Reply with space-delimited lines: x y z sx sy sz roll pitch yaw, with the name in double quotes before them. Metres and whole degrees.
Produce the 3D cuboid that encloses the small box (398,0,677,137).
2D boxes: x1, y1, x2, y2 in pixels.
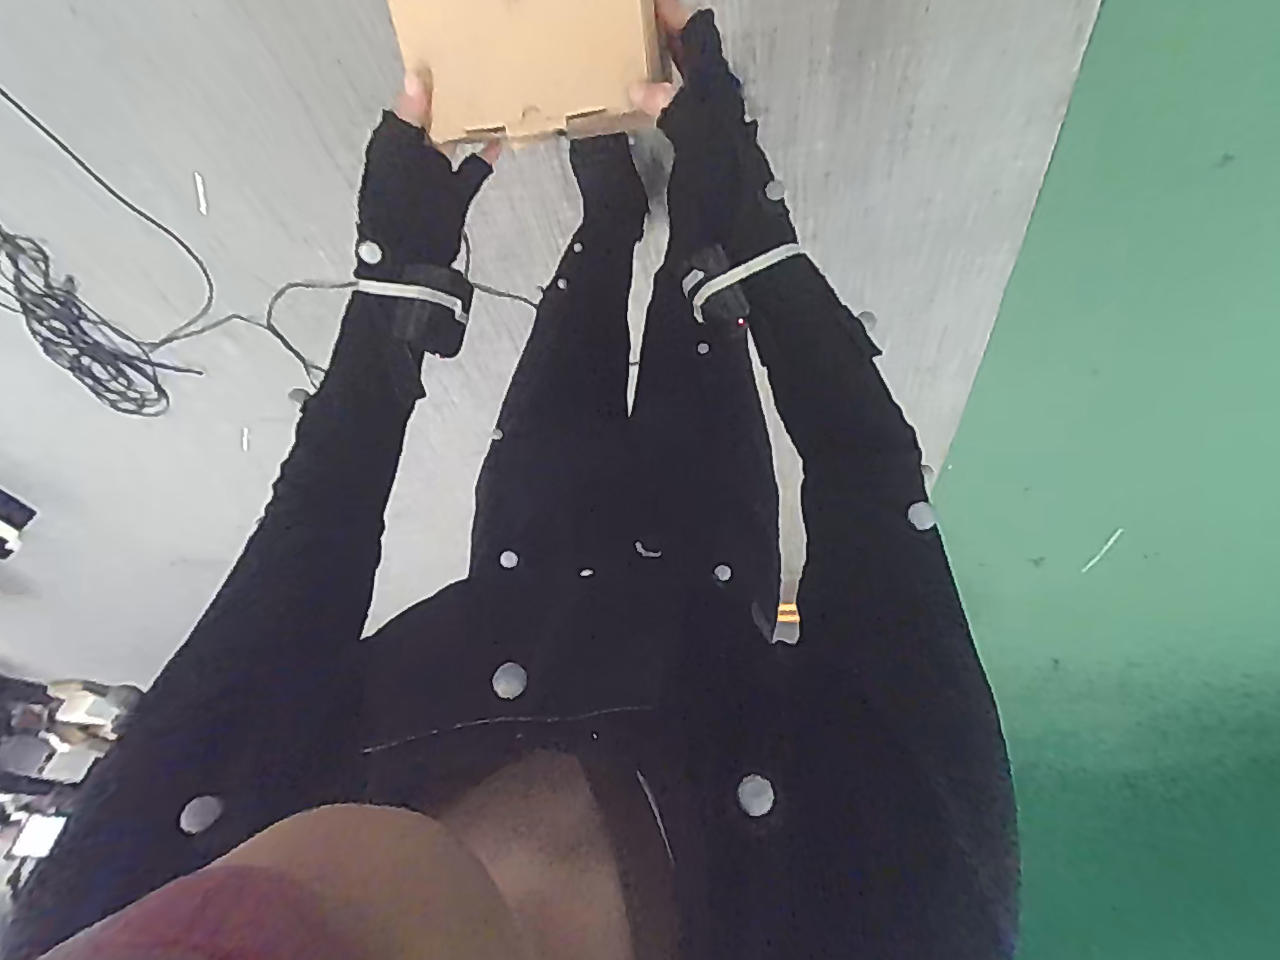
"small box" -0.065 -0.363 0.393 0.168 0.176 0.179 -1 121 11
